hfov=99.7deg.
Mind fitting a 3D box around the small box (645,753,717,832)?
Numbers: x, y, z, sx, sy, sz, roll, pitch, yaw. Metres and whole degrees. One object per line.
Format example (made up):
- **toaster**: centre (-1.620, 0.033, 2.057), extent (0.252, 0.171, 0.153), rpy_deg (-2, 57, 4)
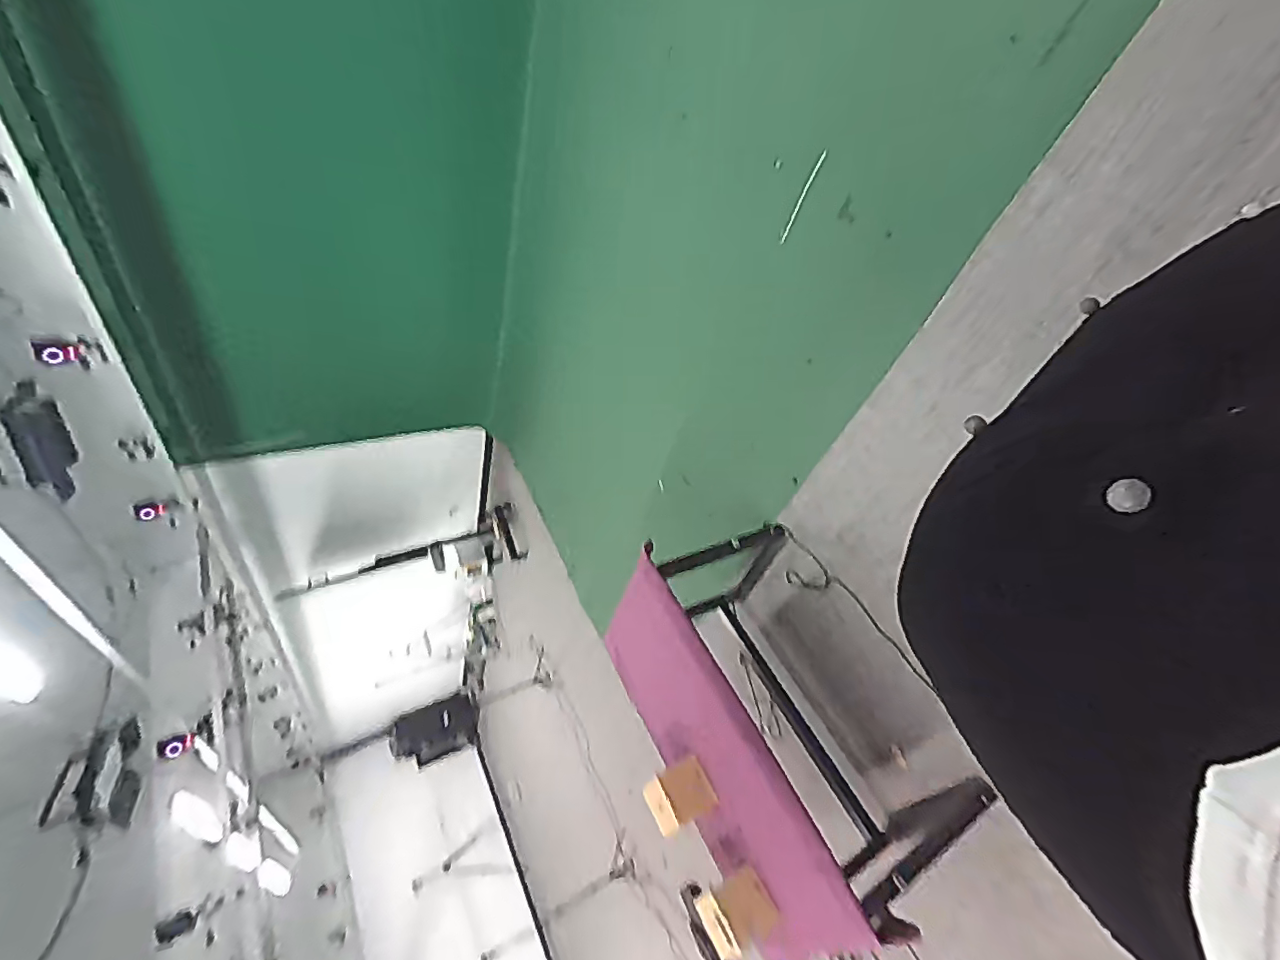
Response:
- **small box**: centre (0.144, 1.088, 1.886), extent (0.168, 0.176, 0.179), rpy_deg (57, 143, 32)
